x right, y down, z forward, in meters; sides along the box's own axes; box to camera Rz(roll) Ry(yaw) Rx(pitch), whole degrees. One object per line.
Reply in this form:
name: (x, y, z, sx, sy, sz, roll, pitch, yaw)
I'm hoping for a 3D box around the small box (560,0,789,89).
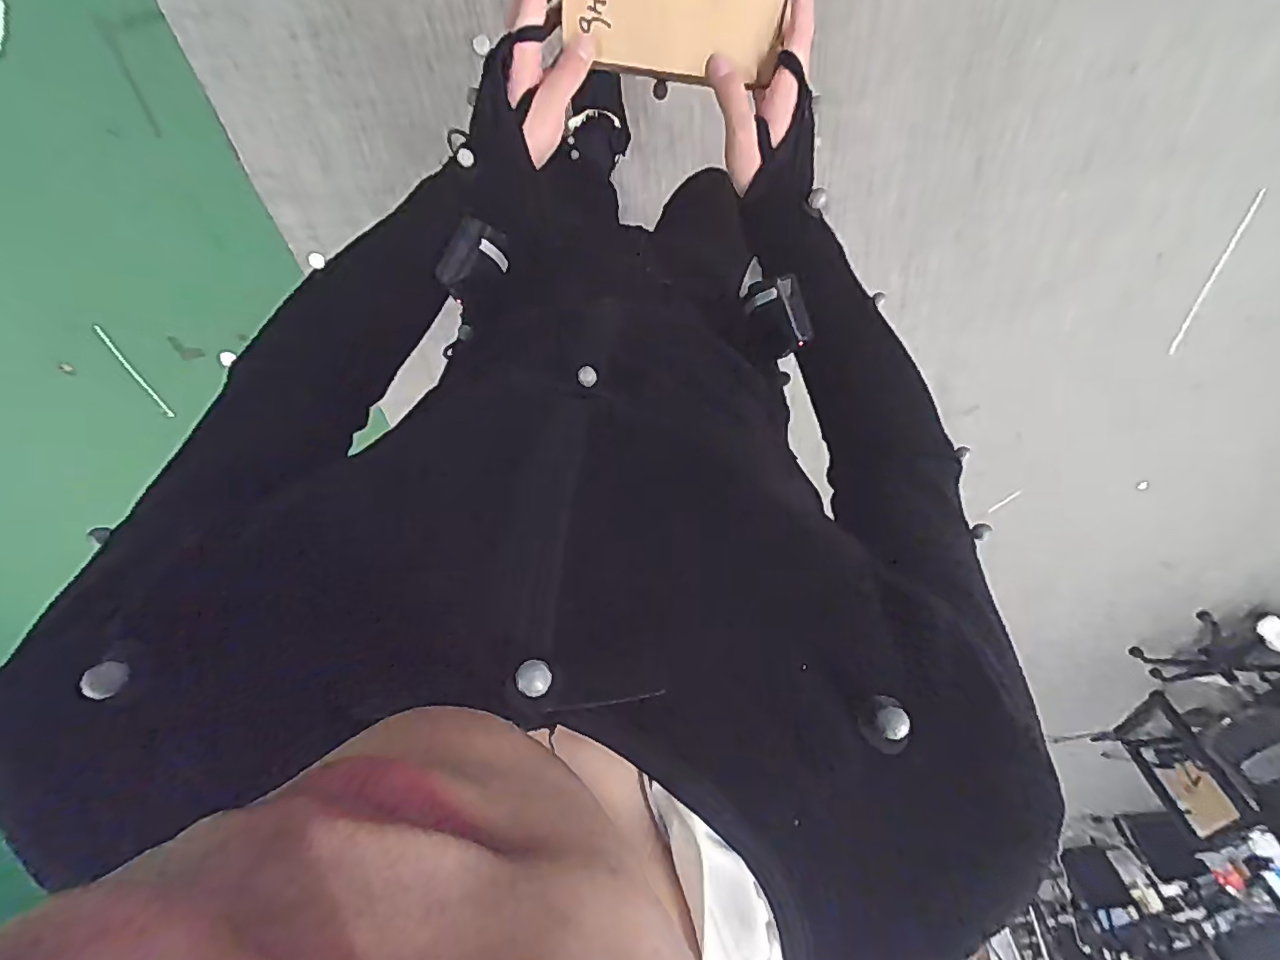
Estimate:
small box: (0.031, -0.448, 0.462, 0.179, 0.176, 0.168, 6, 124, -5)
